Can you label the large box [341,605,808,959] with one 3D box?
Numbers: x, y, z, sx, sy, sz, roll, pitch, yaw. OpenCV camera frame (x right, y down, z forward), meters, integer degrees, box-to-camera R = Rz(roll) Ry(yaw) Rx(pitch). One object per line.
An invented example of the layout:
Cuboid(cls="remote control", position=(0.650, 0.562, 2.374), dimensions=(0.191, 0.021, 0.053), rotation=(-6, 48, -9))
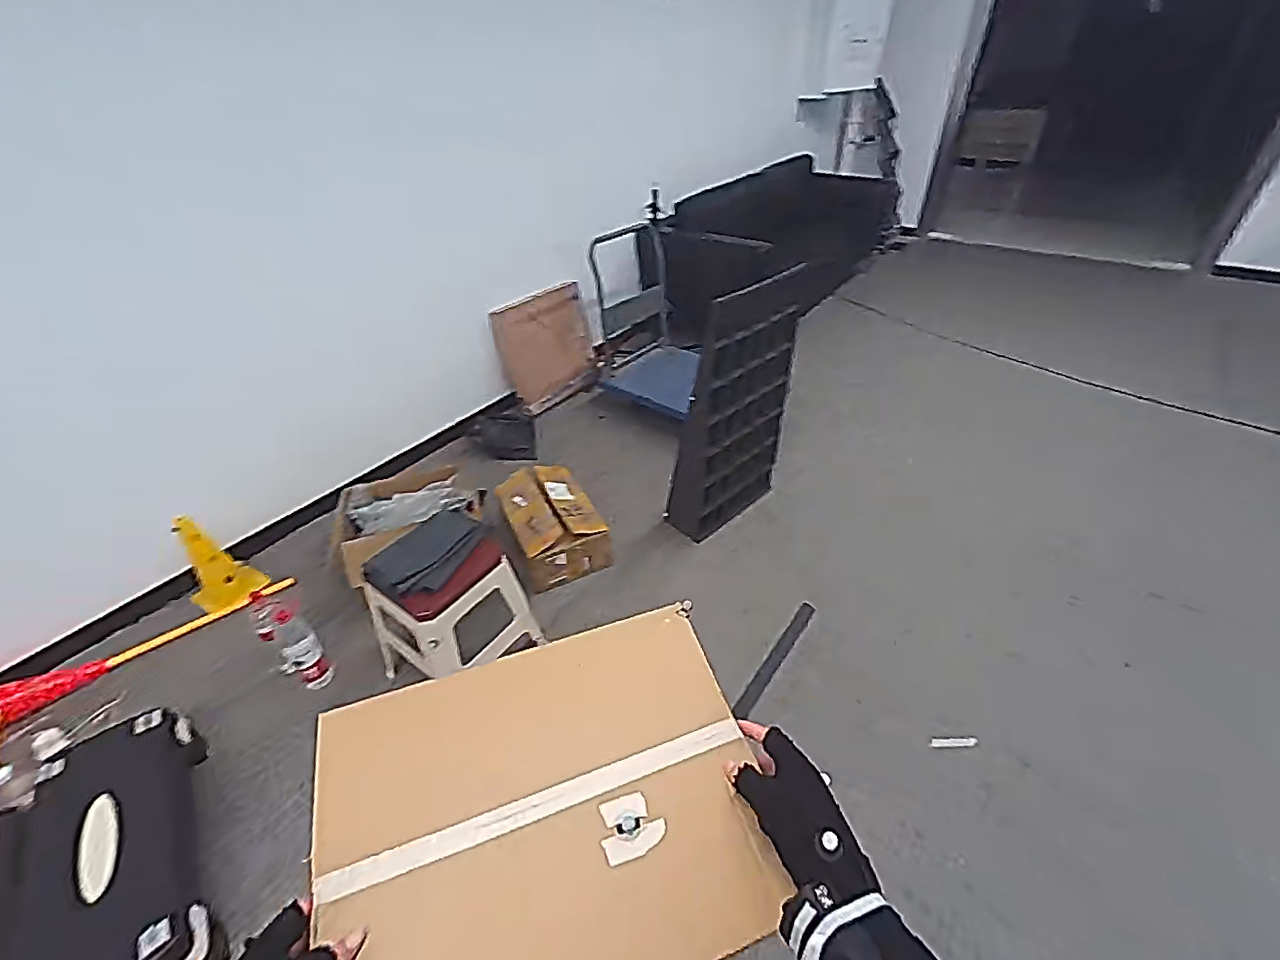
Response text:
Cuboid(cls="large box", position=(-0.088, 0.407, 0.640), dimensions=(0.408, 0.320, 0.320), rotation=(-13, 50, -15))
